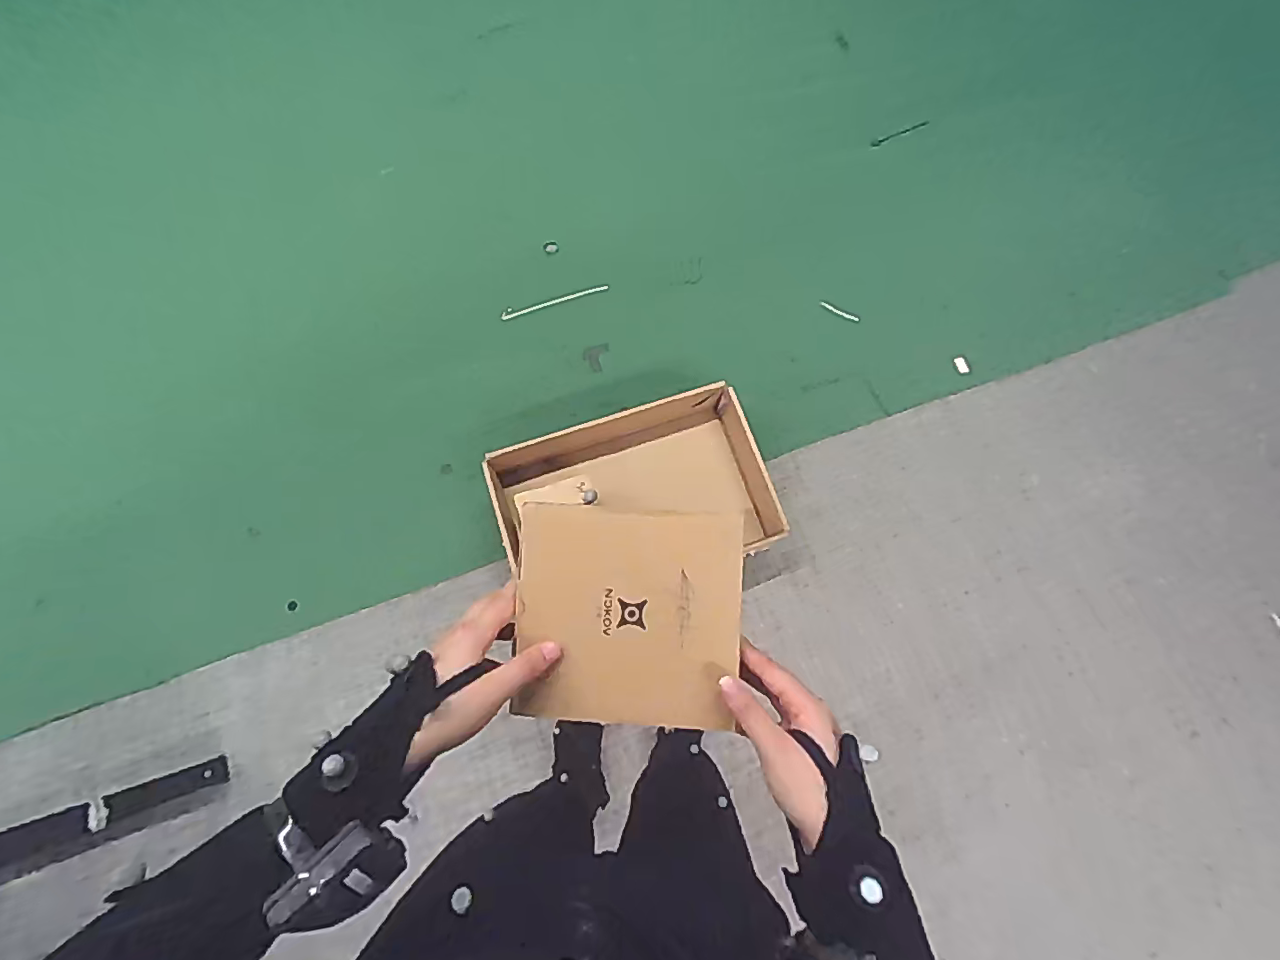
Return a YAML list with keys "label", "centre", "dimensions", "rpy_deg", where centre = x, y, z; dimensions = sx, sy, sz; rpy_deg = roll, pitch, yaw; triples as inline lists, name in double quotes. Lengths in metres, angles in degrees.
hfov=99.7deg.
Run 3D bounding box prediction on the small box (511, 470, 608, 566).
- label: "small box"
  centre: [-0.179, 0.095, 1.249]
  dimensions: [0.179, 0.176, 0.168]
  rpy_deg: [-16, 78, -6]
